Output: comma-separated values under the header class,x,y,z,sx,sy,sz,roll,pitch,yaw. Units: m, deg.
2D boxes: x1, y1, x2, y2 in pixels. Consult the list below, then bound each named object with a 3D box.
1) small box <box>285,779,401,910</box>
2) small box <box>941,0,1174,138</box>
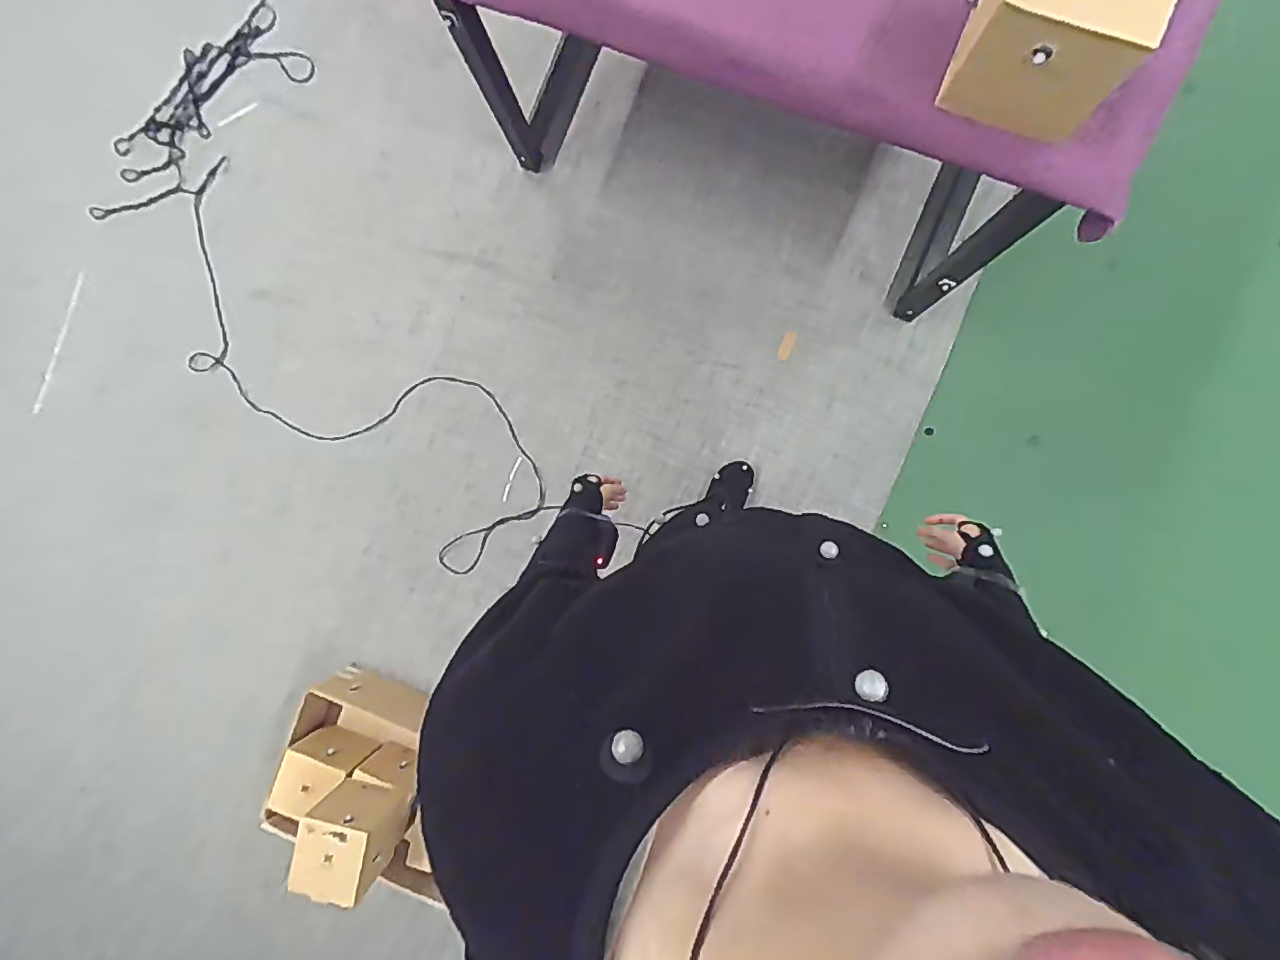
class,x,y,z,sx,sy,sz,roll,pitch,yaw
small box,-0.697,0.857,1.288,0.168,0.176,0.179,12,90,5
small box,0.516,-0.570,0.674,0.179,0.176,0.168,21,92,5
